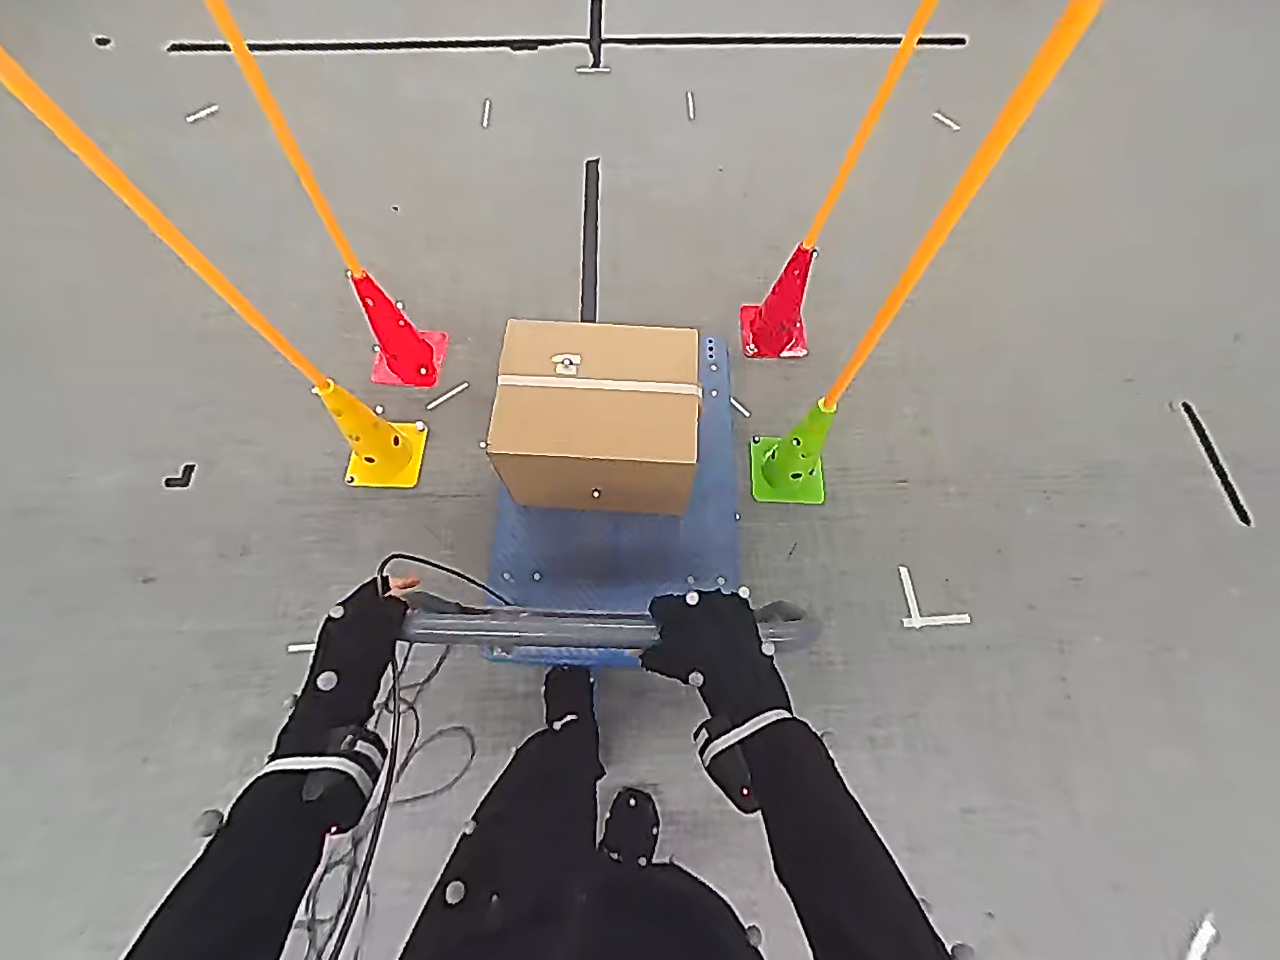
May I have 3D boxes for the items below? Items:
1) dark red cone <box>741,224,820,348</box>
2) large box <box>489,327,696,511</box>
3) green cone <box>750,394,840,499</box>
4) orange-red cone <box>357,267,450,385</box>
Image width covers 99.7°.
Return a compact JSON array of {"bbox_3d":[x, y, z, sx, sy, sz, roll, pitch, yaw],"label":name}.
[{"bbox_3d":[0.430,-0.562,1.552,0.201,0.394,0.202,0,68,-3],"label":"dark red cone"},{"bbox_3d":[-0.085,-0.123,1.230,0.408,0.320,0.320,3,68,1],"label":"large box"},{"bbox_3d":[0.421,-0.107,1.384,0.202,0.368,0.200,3,68,-1],"label":"green cone"},{"bbox_3d":[-0.698,-0.452,1.513,0.198,0.360,0.199,6,66,1],"label":"orange-red cone"}]
